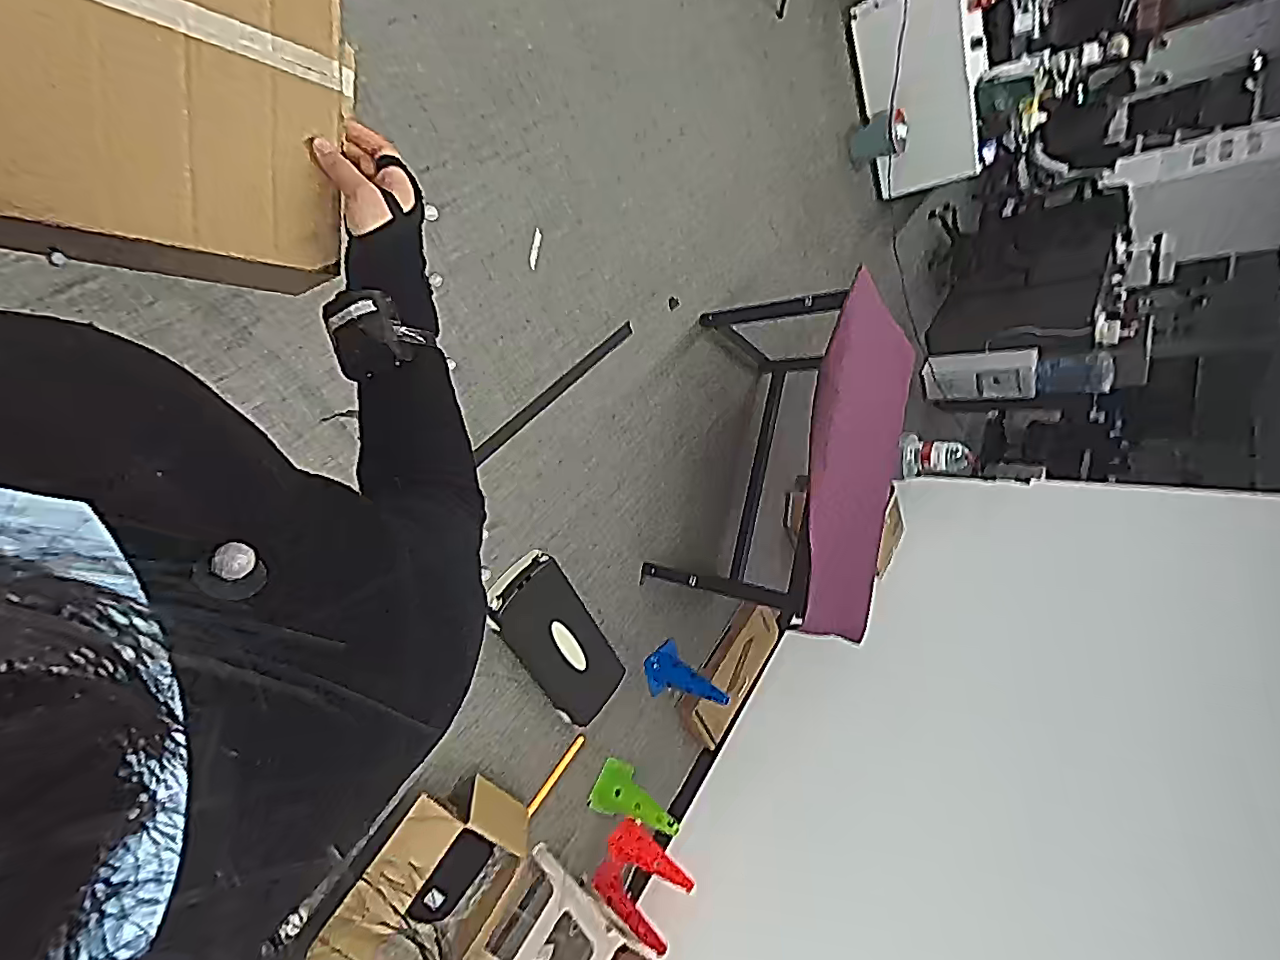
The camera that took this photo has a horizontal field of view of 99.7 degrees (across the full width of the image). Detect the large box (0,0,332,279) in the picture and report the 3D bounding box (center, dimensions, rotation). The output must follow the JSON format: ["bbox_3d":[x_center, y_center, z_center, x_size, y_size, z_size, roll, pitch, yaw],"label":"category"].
[{"bbox_3d":[-0.507,-0.367,0.451,0.408,0.320,0.320,-2,103,-37],"label":"large box"}]
